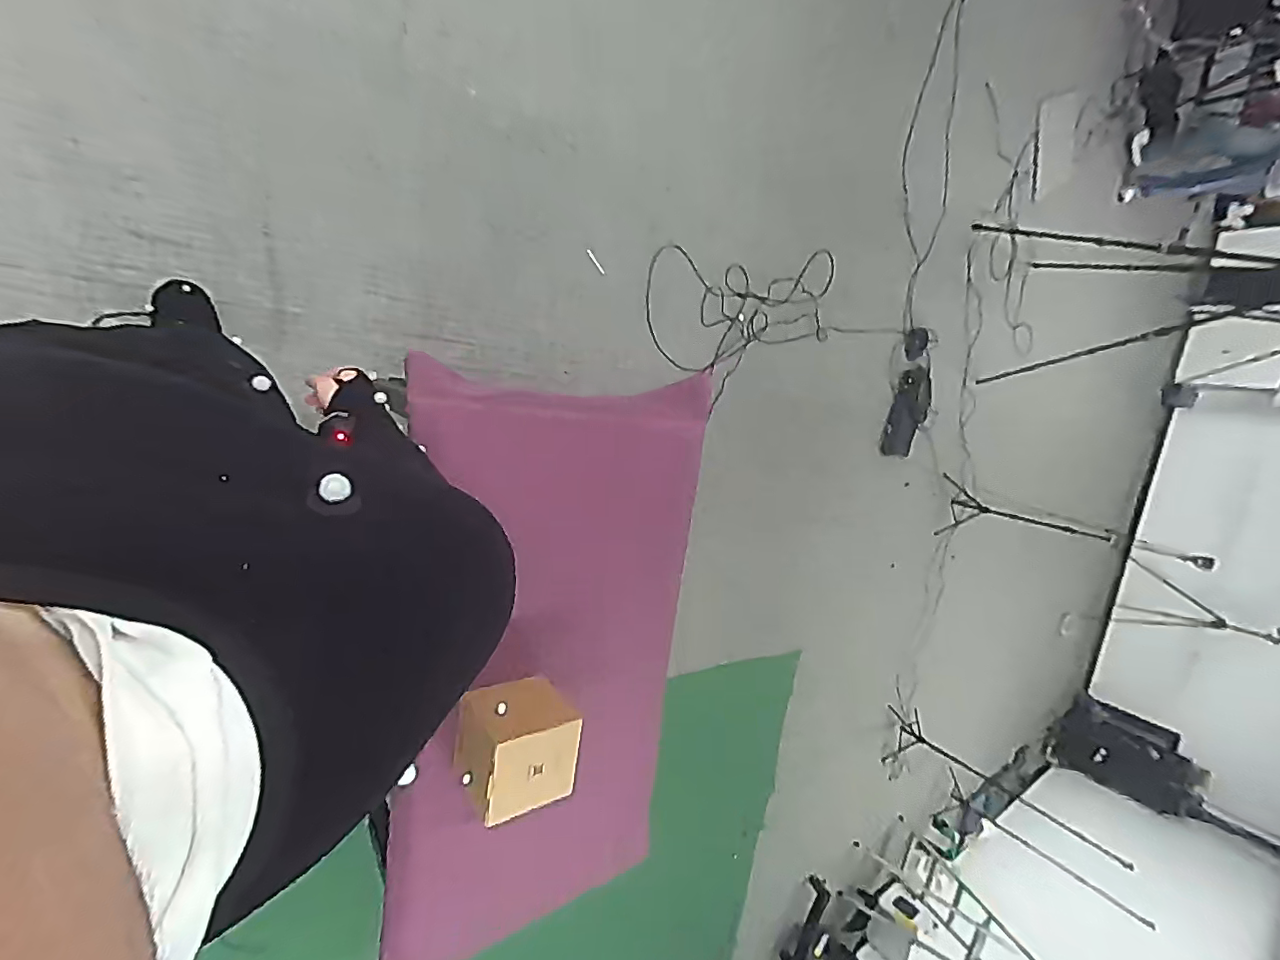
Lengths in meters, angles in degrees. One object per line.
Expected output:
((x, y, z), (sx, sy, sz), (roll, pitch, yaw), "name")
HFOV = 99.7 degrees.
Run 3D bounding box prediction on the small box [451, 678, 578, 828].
((-0.244, 0.505, 1.030), (0.179, 0.176, 0.168), (2, 103, -39), "small box")
